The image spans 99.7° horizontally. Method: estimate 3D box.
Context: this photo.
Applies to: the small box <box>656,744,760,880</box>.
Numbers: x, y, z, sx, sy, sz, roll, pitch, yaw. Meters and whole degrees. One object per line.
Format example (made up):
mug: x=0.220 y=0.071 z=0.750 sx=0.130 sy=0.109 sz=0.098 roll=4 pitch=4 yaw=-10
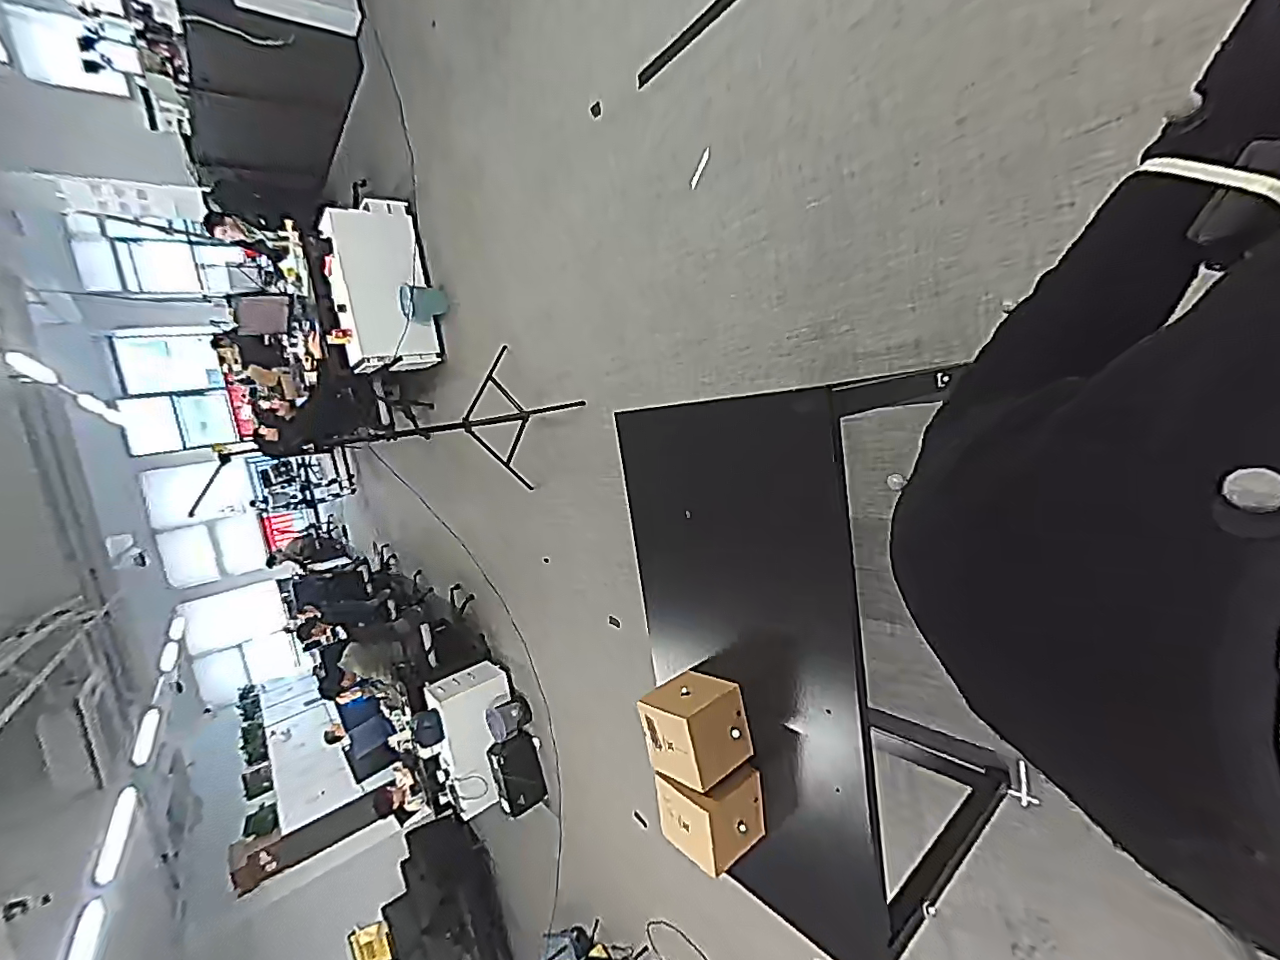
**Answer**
small box: x=0.161 y=0.741 z=1.233 sx=0.179 sy=0.176 sz=0.168 roll=7 pitch=106 yaw=52
